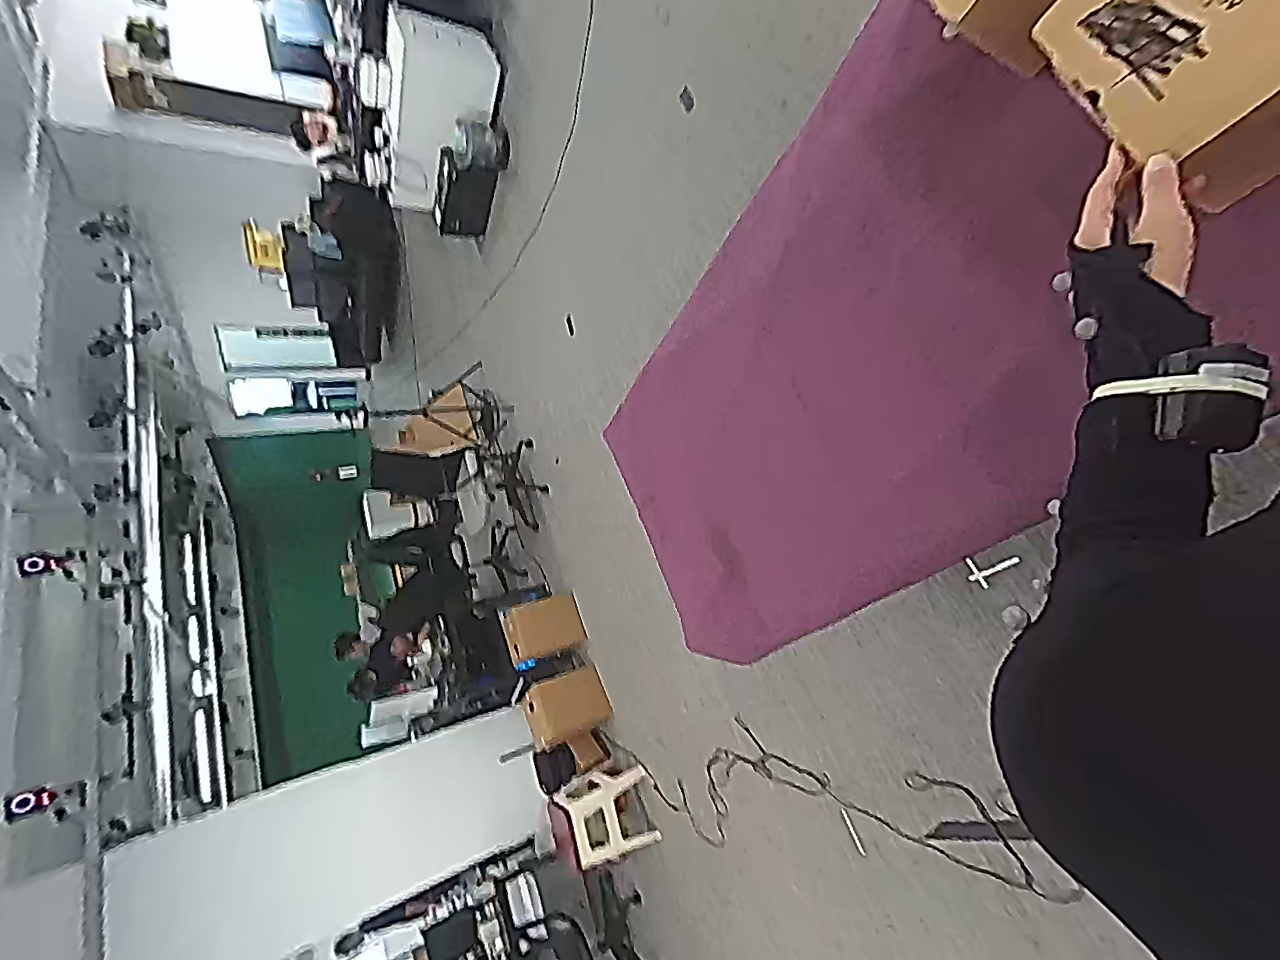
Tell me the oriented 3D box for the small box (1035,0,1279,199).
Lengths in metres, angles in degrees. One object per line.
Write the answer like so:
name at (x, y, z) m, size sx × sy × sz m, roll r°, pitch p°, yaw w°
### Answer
small box at (0.443, -0.332, 0.381) m, size 0.179 × 0.176 × 0.168 m, roll -44°, pitch 60°, yaw 52°

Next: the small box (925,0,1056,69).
small box at (0.347, -0.523, 0.484) m, size 0.179 × 0.176 × 0.168 m, roll -51°, pitch 56°, yaw 49°
